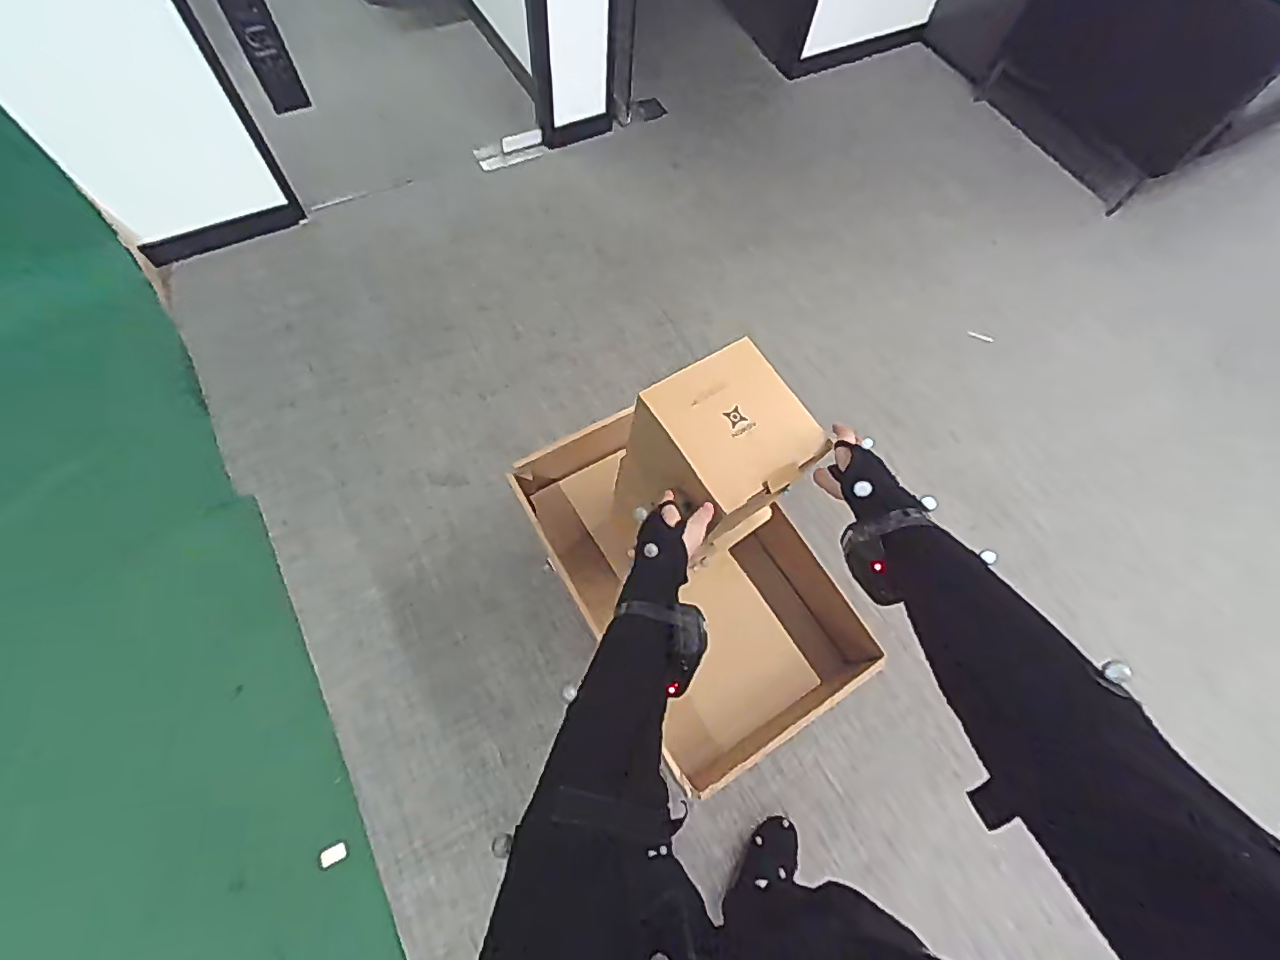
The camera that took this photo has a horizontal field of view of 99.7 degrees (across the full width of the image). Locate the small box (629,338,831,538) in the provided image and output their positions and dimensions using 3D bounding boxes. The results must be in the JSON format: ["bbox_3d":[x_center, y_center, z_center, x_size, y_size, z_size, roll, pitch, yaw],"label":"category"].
[{"bbox_3d":[0.102,-0.041,0.698,0.168,0.176,0.179,-30,75,-17],"label":"small box"}]

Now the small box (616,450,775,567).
[{"bbox_3d":[0.077,0.020,0.847,0.168,0.176,0.179,-32,76,-18],"label":"small box"}]
